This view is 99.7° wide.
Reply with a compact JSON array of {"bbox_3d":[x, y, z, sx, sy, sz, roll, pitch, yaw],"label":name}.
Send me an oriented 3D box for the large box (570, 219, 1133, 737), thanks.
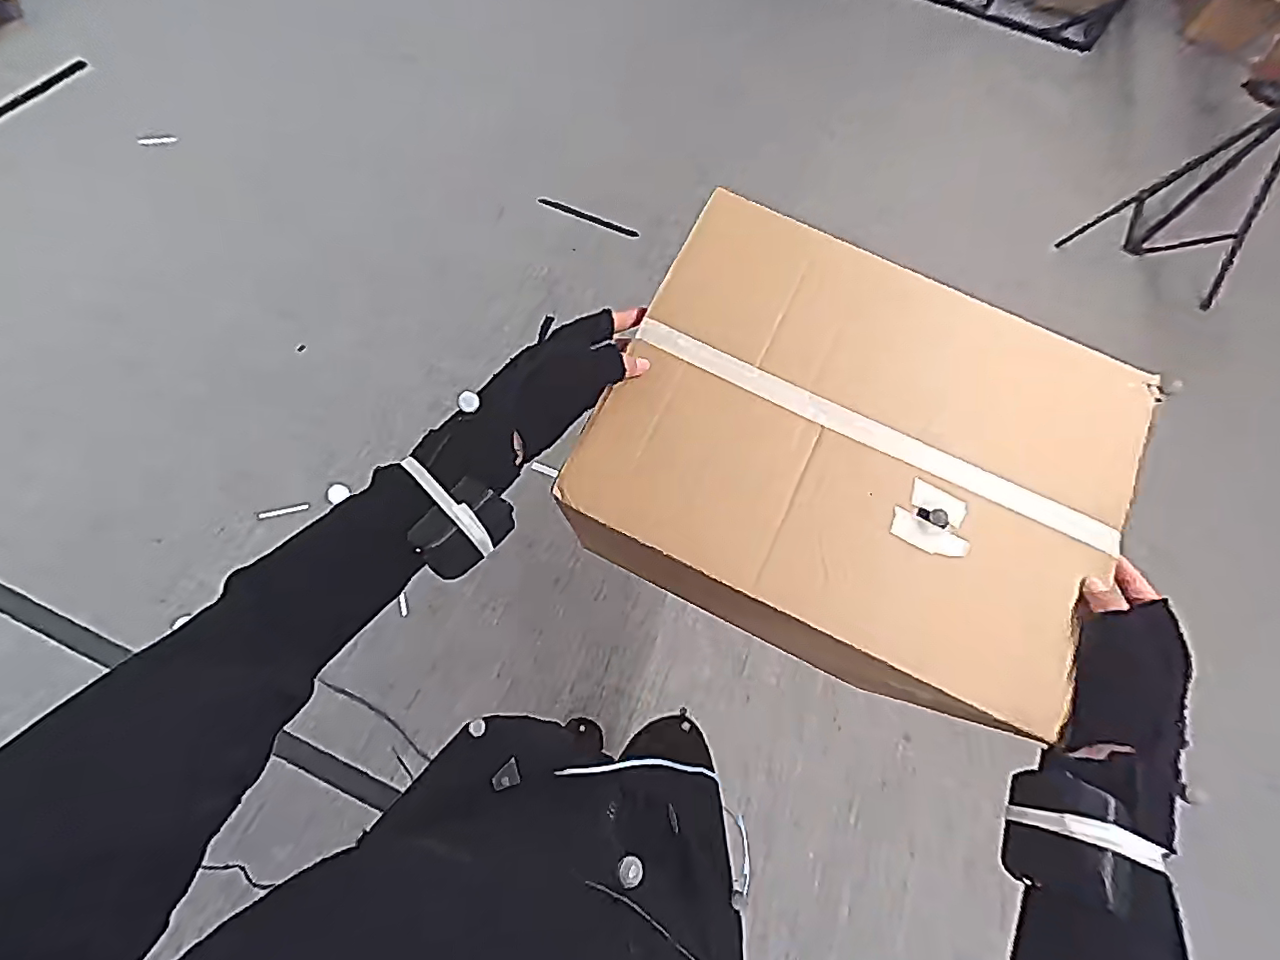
[{"bbox_3d":[0.176,0.011,0.588,0.408,0.320,0.320,26,77,4],"label":"large box"}]
